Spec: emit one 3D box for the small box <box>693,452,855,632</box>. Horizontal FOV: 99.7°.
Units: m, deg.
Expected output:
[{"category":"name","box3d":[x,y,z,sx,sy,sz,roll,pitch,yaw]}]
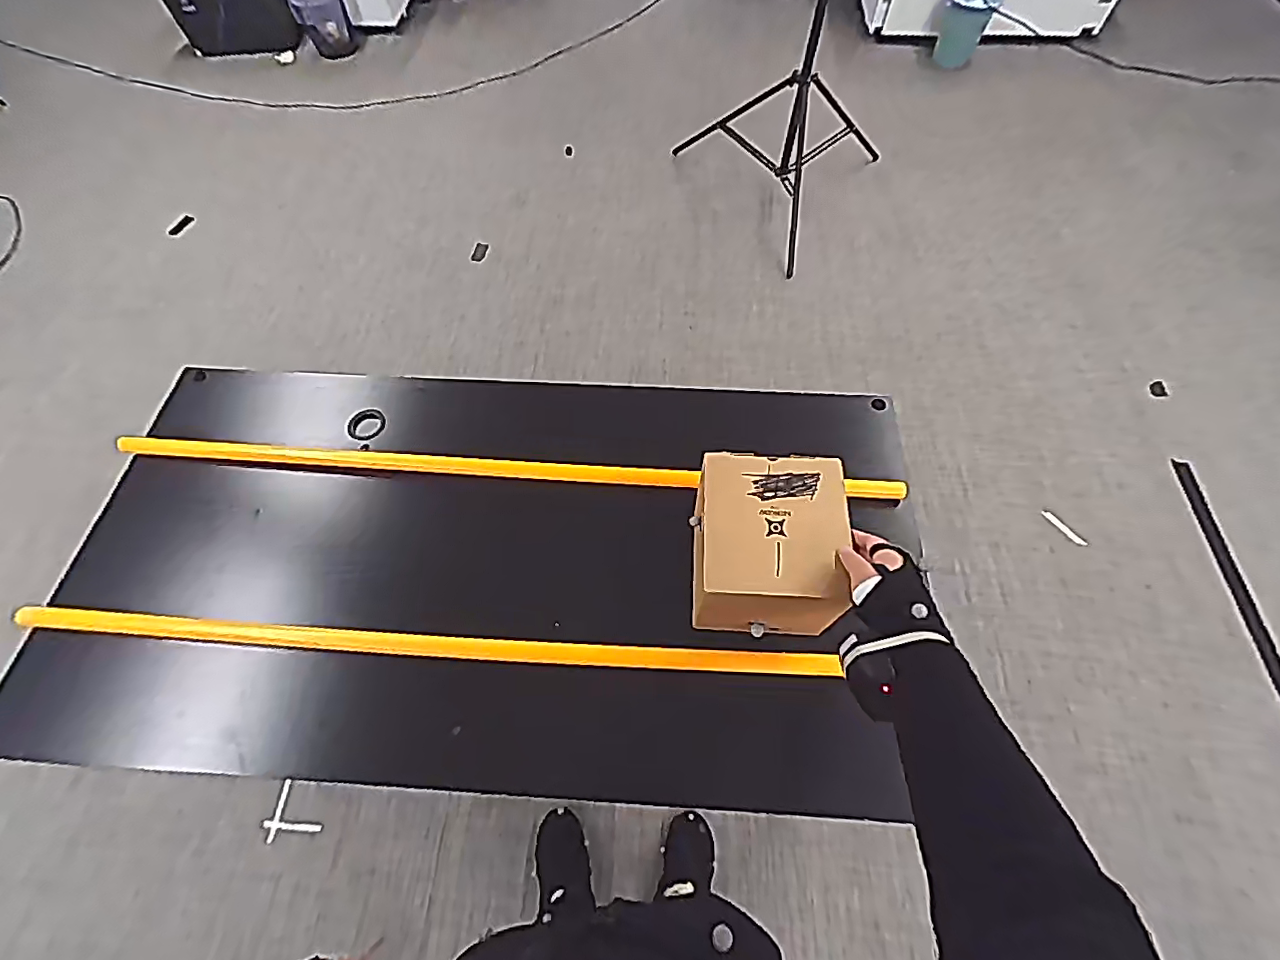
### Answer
[{"category":"small box","box3d":[0.156,0.083,0.690,0.168,0.176,0.179,2,62,3]}]
